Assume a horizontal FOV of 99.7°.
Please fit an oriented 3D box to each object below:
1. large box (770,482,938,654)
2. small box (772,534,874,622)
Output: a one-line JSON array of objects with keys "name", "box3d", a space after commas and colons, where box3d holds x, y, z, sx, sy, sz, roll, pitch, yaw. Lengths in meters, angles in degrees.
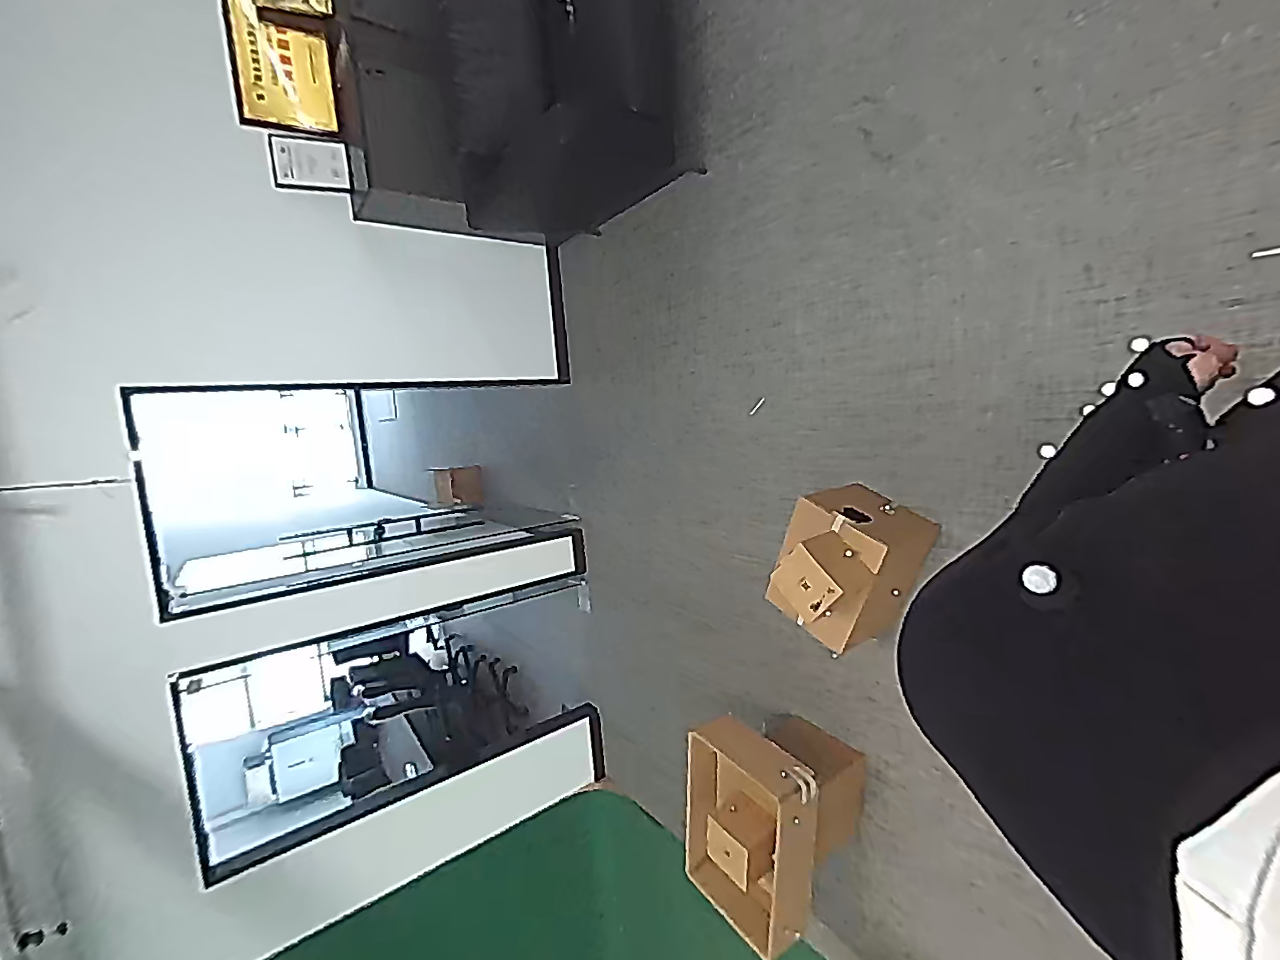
[{"name": "large box", "box3d": [0.676, 0.264, 1.735, 0.320, 0.320, 0.408, 37, 127, 44]}, {"name": "small box", "box3d": [0.518, 0.269, 1.533, 0.179, 0.176, 0.168, 55, 136, 30]}]
